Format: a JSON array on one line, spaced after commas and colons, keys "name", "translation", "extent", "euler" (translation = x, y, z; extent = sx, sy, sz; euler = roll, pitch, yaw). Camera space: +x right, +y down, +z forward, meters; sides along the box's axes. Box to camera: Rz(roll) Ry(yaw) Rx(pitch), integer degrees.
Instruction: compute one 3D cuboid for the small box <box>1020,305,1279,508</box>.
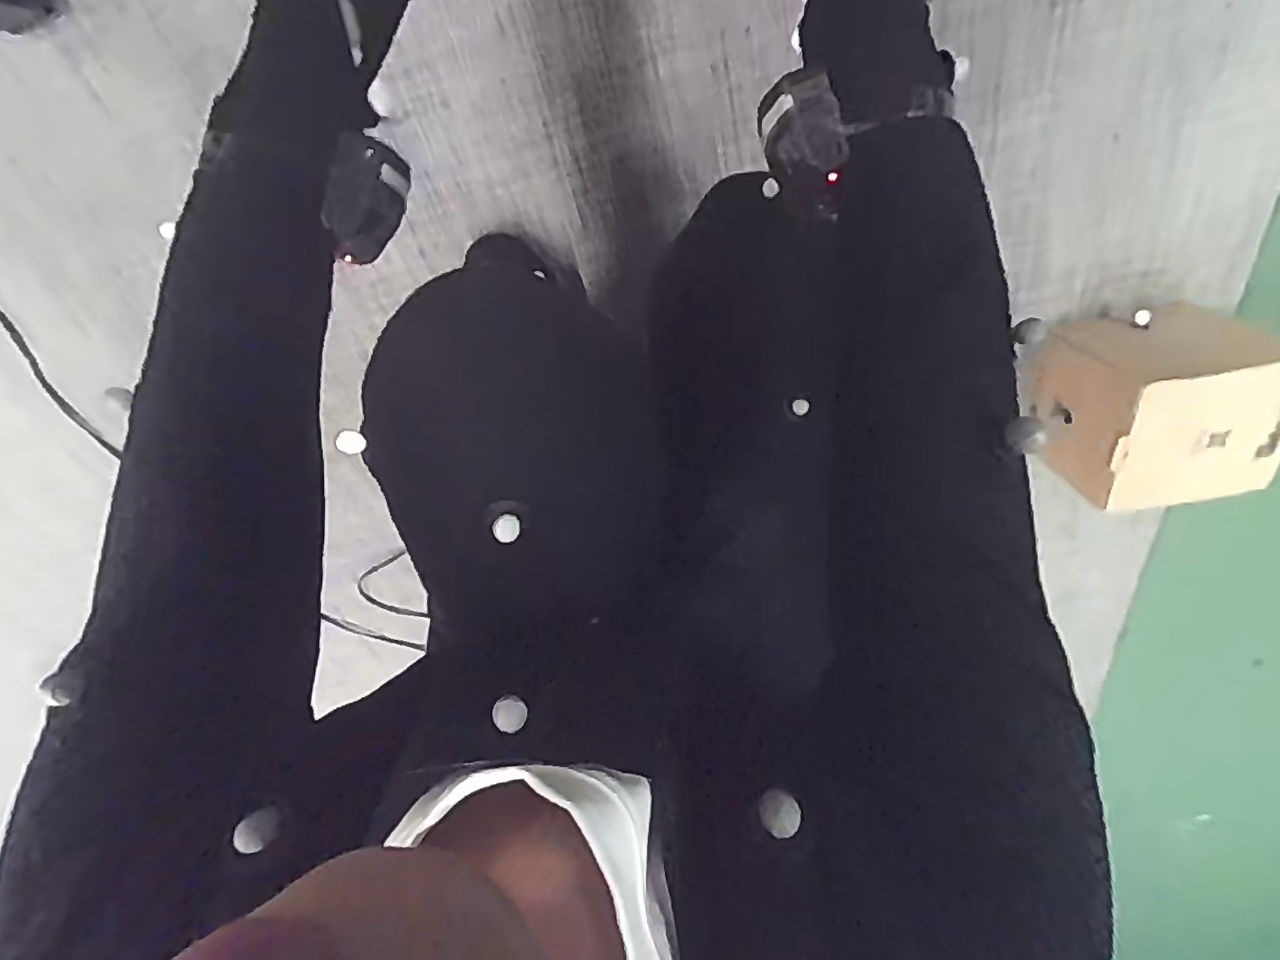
[{"name": "small box", "translation": [0.592, -0.090, 0.637], "extent": [0.179, 0.176, 0.168], "euler": [-9, 124, 7]}]
